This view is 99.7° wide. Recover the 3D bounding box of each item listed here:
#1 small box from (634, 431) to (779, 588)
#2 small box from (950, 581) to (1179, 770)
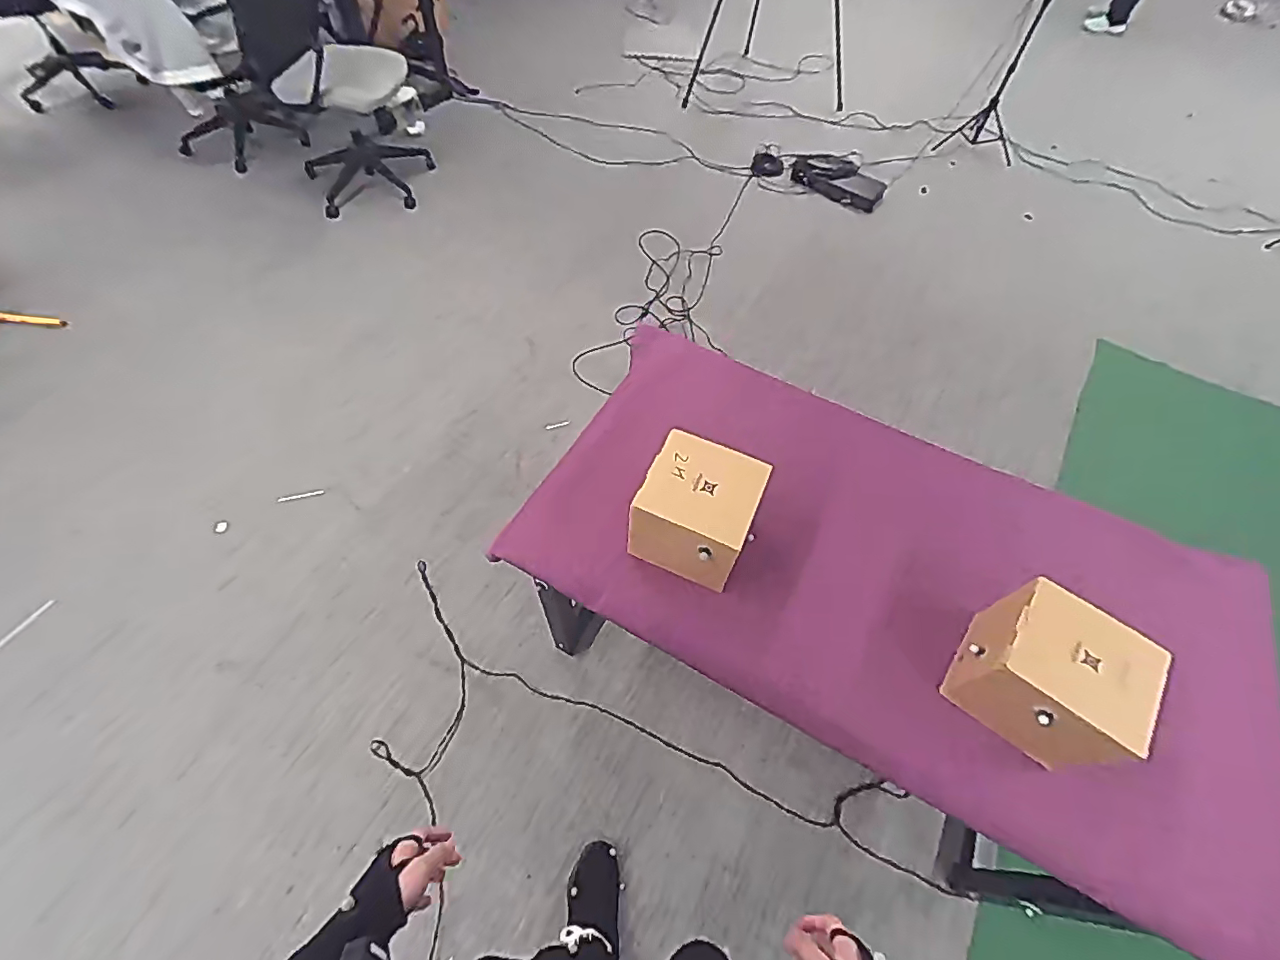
[{"bbox_3d":[0.102,0.056,0.887,0.179,0.176,0.168,23,59,11],"label":"small box"},{"bbox_3d":[0.583,0.283,0.765,0.179,0.176,0.168,36,63,19],"label":"small box"}]
